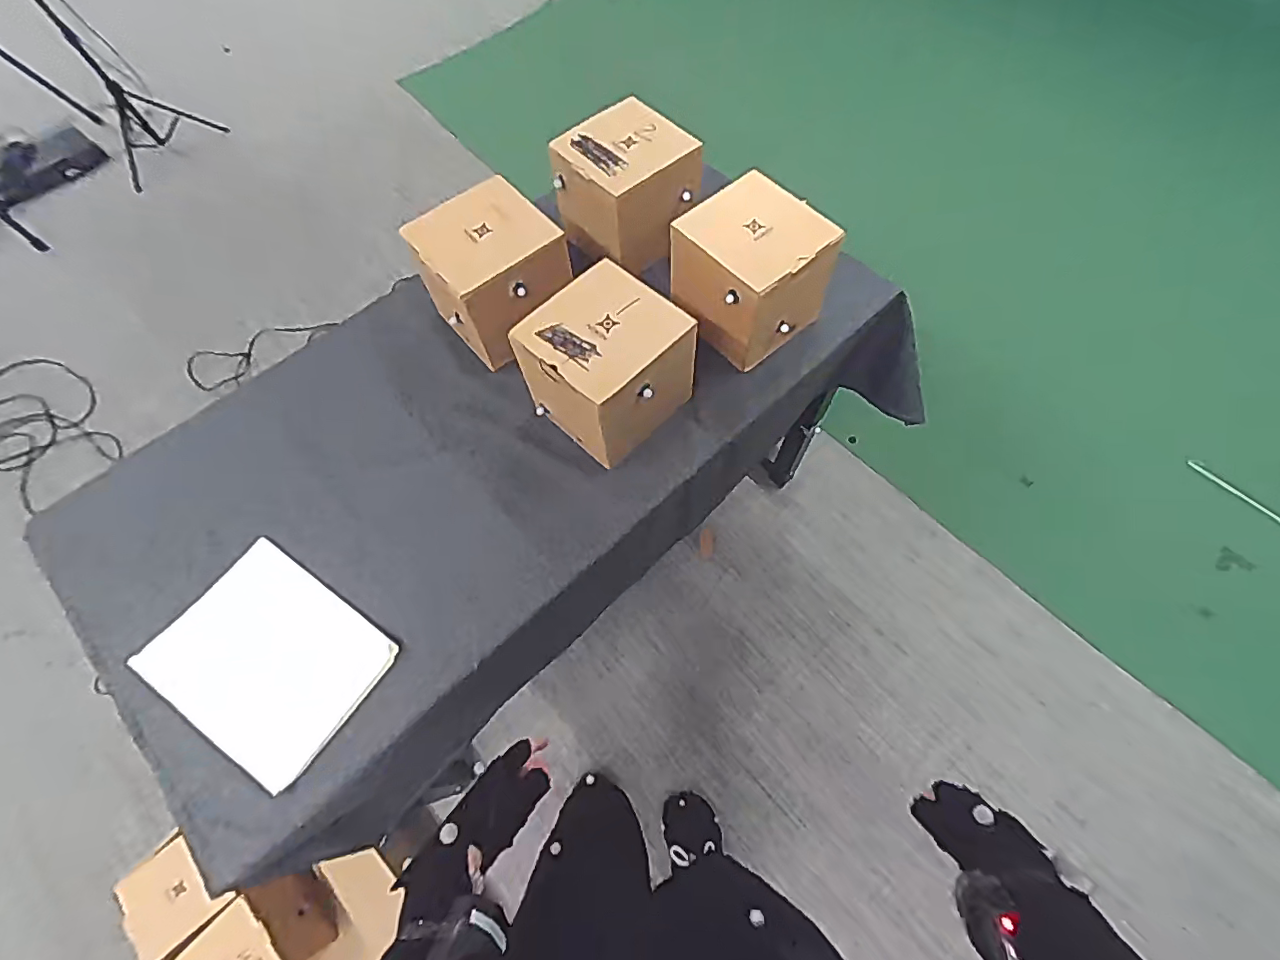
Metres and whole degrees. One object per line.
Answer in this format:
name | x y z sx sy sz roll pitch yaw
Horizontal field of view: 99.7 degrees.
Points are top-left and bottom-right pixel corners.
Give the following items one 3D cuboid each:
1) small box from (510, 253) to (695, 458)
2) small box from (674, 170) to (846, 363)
small box | -0.043 -0.161 0.738 0.168 0.176 0.179 41 72 18
small box | 0.162 -0.309 0.804 0.168 0.176 0.179 -38 70 -14
